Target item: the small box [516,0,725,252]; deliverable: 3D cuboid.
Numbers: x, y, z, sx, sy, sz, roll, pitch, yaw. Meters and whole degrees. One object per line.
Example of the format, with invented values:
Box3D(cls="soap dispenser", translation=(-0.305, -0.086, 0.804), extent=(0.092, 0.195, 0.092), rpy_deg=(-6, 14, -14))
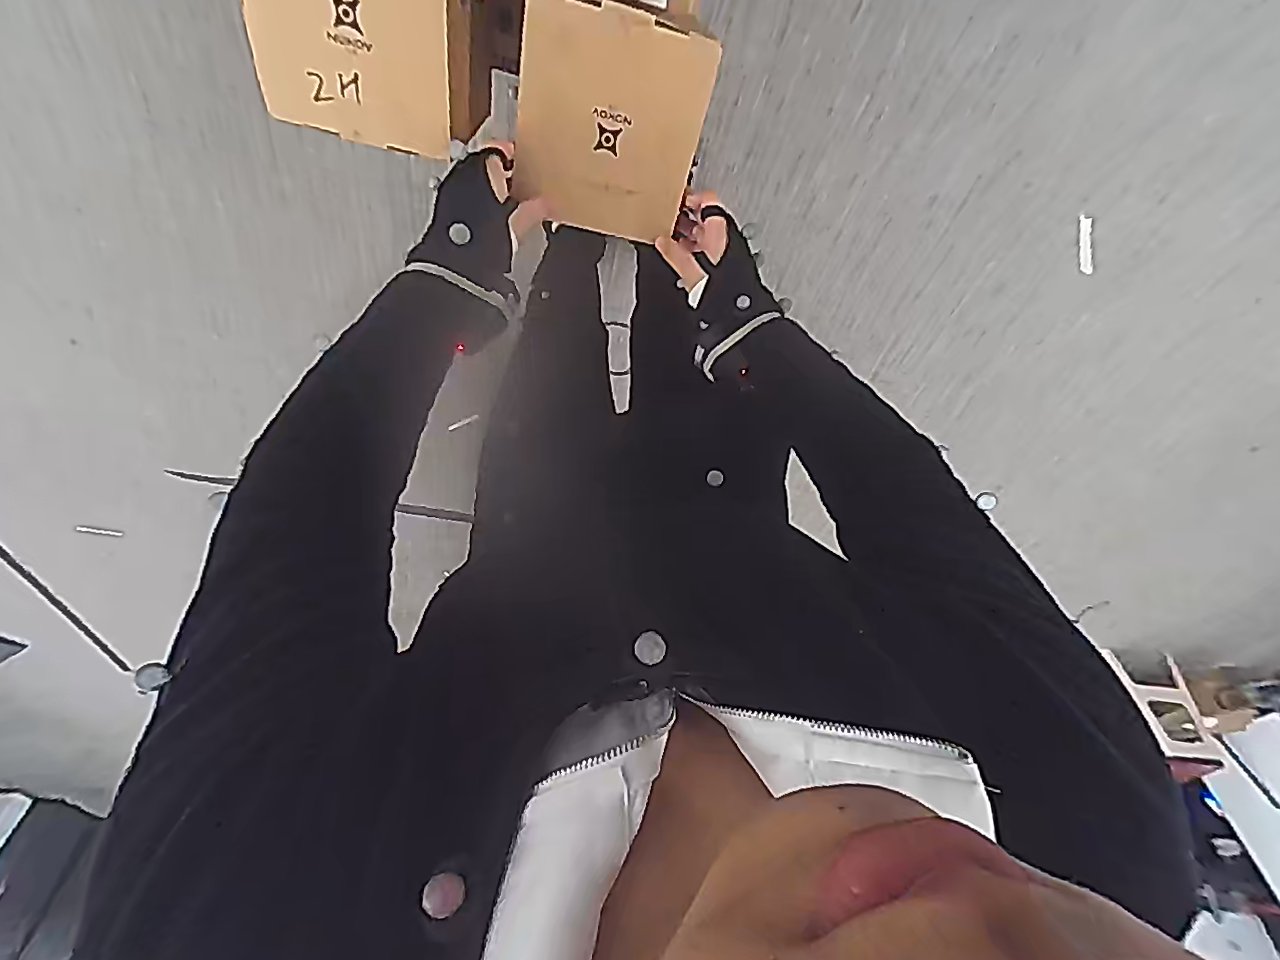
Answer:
Box3D(cls="small box", translation=(-0.029, -0.368, 0.553), extent=(0.168, 0.176, 0.179), rpy_deg=(8, 135, -10))
